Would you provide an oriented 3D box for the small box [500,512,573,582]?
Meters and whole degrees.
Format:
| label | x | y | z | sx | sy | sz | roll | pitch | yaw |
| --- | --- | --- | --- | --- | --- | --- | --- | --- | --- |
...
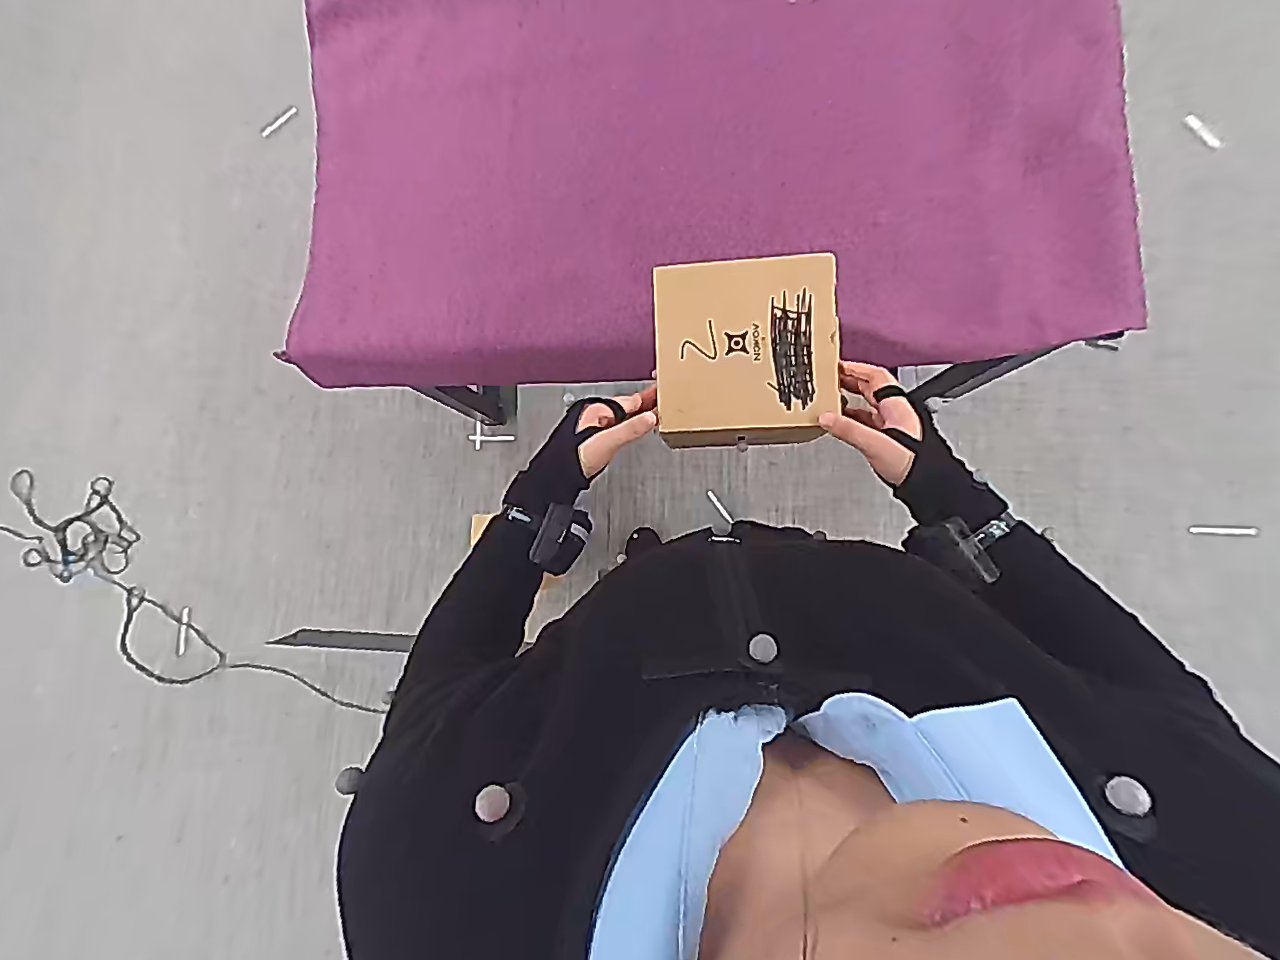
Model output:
| label | x | y | z | sx | sy | sz | roll | pitch | yaw |
| --- | --- | --- | --- | --- | --- | --- | --- | --- | --- |
| small box | -0.283 | 0.183 | 1.458 | 0.168 | 0.176 | 0.179 | 7 | 86 | 5 |

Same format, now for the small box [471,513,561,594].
| label | x | y | z | sx | sy | sz | roll | pitch | yaw |
| --- | --- | --- | --- | --- | --- | --- | --- | --- | --- |
| small box | -0.290 | 0.172 | 1.293 | 0.168 | 0.176 | 0.179 | 1 | 86 | 5 |
